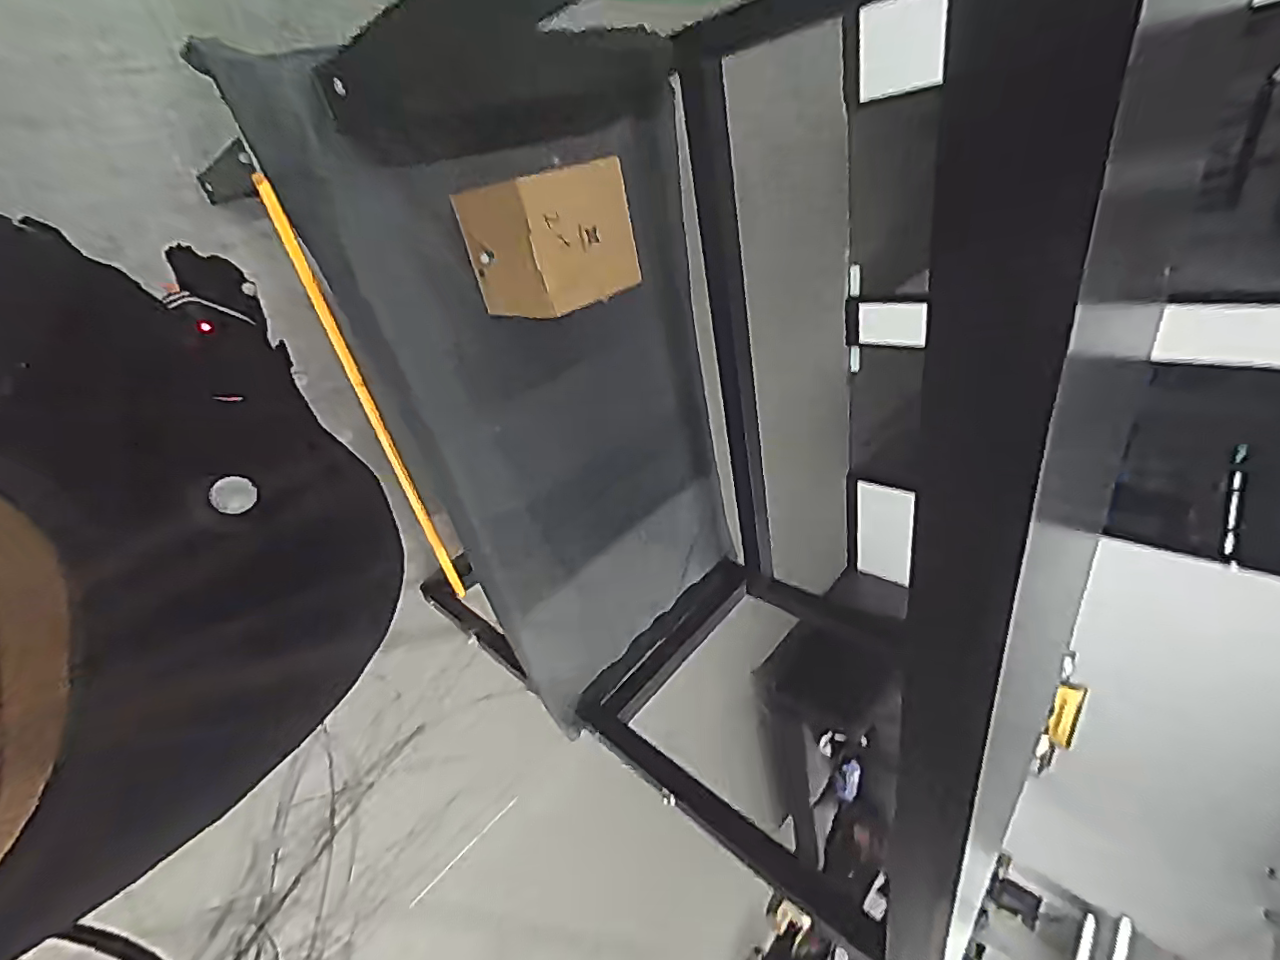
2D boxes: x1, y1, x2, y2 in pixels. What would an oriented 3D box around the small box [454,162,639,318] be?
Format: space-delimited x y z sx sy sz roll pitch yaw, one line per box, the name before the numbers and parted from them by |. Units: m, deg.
small box | -0.131 -0.344 0.778 0.179 0.176 0.168 -36 127 -34
